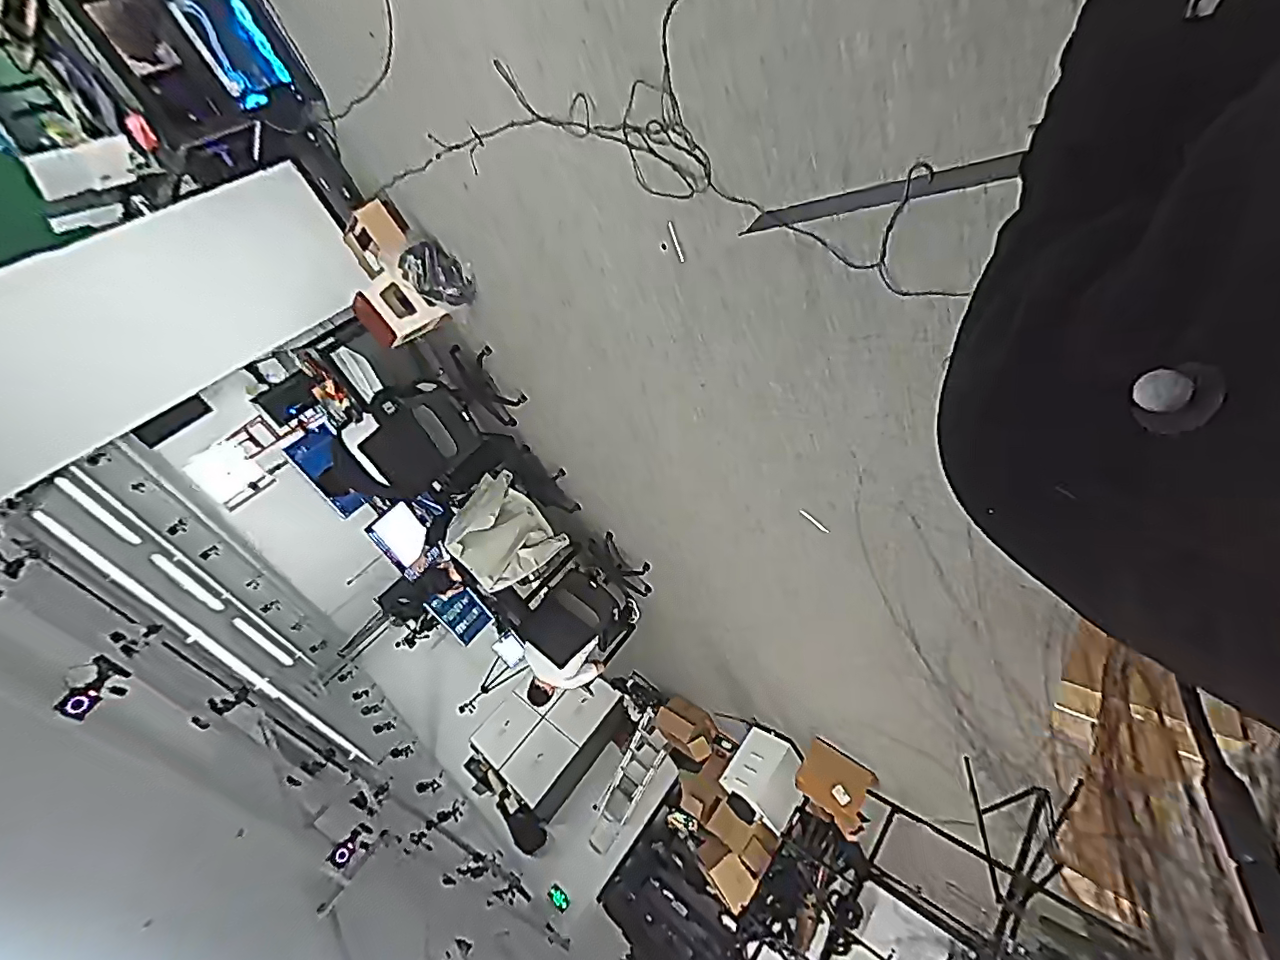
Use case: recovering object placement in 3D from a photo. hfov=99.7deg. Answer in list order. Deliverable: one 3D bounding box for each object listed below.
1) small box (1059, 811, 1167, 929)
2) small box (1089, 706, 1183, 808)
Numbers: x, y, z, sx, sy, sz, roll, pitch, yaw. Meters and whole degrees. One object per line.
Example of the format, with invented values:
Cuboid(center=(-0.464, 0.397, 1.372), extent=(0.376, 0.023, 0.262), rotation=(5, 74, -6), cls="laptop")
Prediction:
Cuboid(center=(1.230, 1.002, 1.410), extent=(0.179, 0.176, 0.168), rotation=(15, 141, 43), cls="small box")
Cuboid(center=(1.432, 0.791, 1.562), extent=(0.179, 0.176, 0.168), rotation=(12, 138, 47), cls="small box")
